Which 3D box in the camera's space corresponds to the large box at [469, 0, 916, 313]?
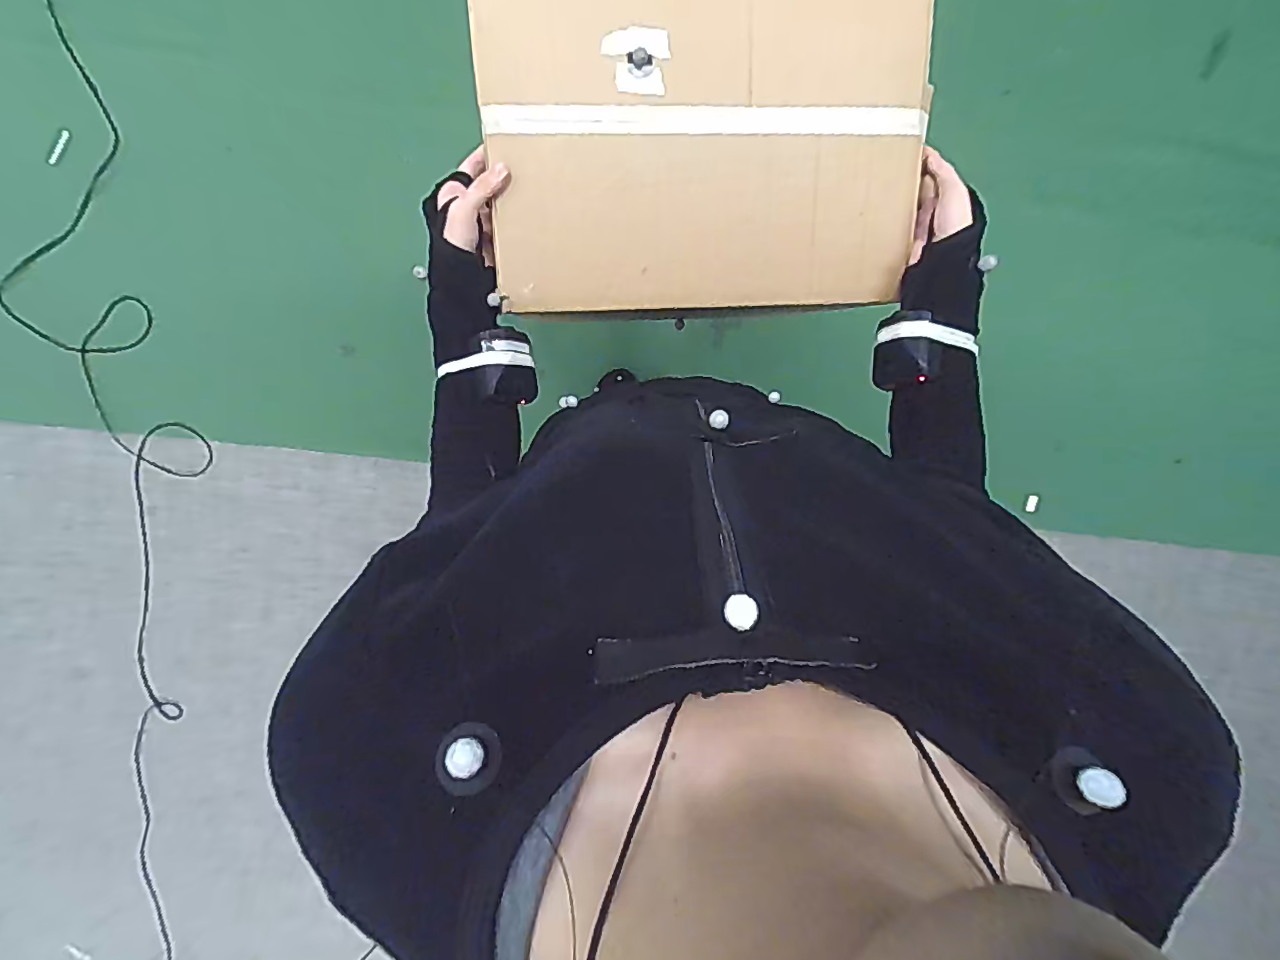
[{"bbox_3d":[0.041,-0.367,0.641,0.408,0.320,0.320,-3,105,-6],"label":"large box"}]
